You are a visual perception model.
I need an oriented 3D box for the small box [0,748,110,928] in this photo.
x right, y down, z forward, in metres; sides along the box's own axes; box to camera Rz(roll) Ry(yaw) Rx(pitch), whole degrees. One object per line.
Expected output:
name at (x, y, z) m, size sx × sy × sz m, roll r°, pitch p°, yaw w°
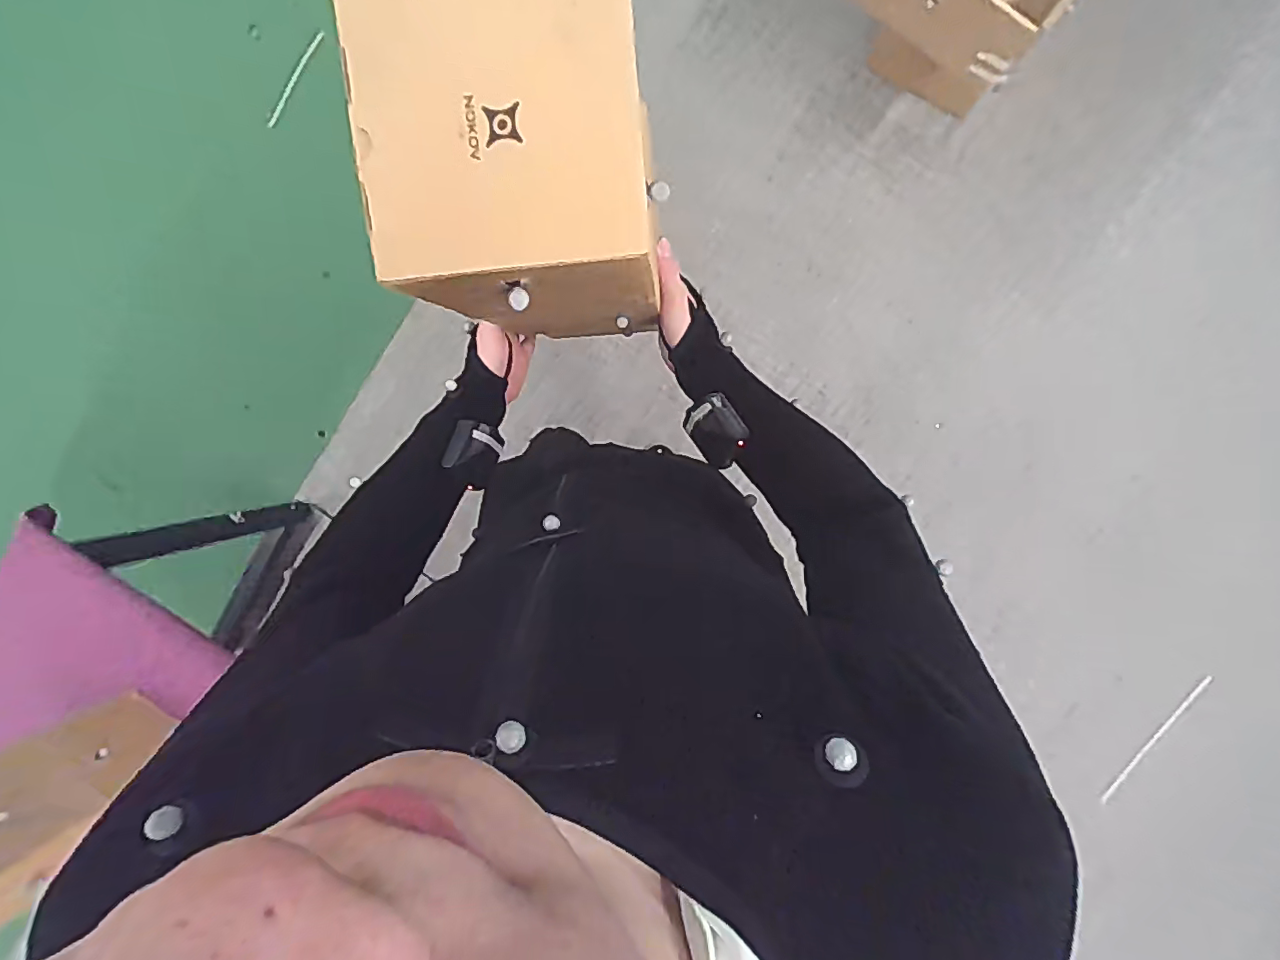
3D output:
small box at (-0.935, 0.527, 0.773) m, size 0.179 × 0.176 × 0.168 m, roll 34°, pitch 97°, yaw -1°

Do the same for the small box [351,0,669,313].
small box at (-0.071, -0.222, 0.397) m, size 0.179 × 0.176 × 0.168 m, roll -4°, pitch 100°, yaw 5°

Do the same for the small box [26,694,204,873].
small box at (-0.921, 0.508, 0.935) m, size 0.179 × 0.176 × 0.168 m, roll 36°, pitch 97°, yaw 0°

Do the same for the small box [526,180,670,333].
small box at (-0.050, -0.289, 0.717) m, size 0.179 × 0.176 × 0.168 m, roll -2°, pitch 99°, yaw 5°
